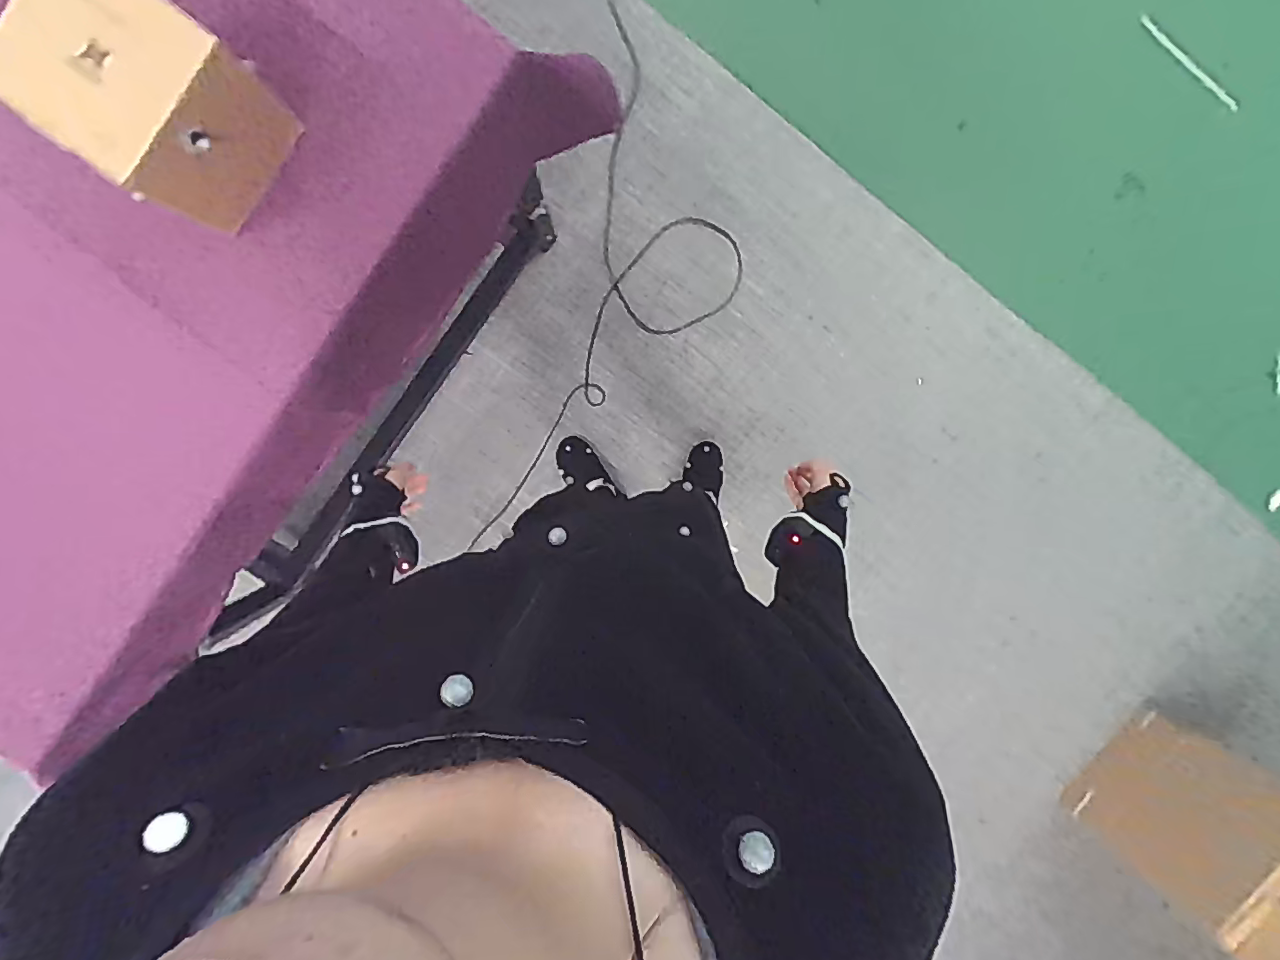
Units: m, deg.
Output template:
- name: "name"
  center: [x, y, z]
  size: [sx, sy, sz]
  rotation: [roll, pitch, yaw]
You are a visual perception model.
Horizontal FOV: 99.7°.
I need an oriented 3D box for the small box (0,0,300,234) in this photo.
- name: "small box"
  center: [-0.535, -0.416, 0.610]
  size: [0.168, 0.176, 0.179]
  rotation: [37, 93, -7]
